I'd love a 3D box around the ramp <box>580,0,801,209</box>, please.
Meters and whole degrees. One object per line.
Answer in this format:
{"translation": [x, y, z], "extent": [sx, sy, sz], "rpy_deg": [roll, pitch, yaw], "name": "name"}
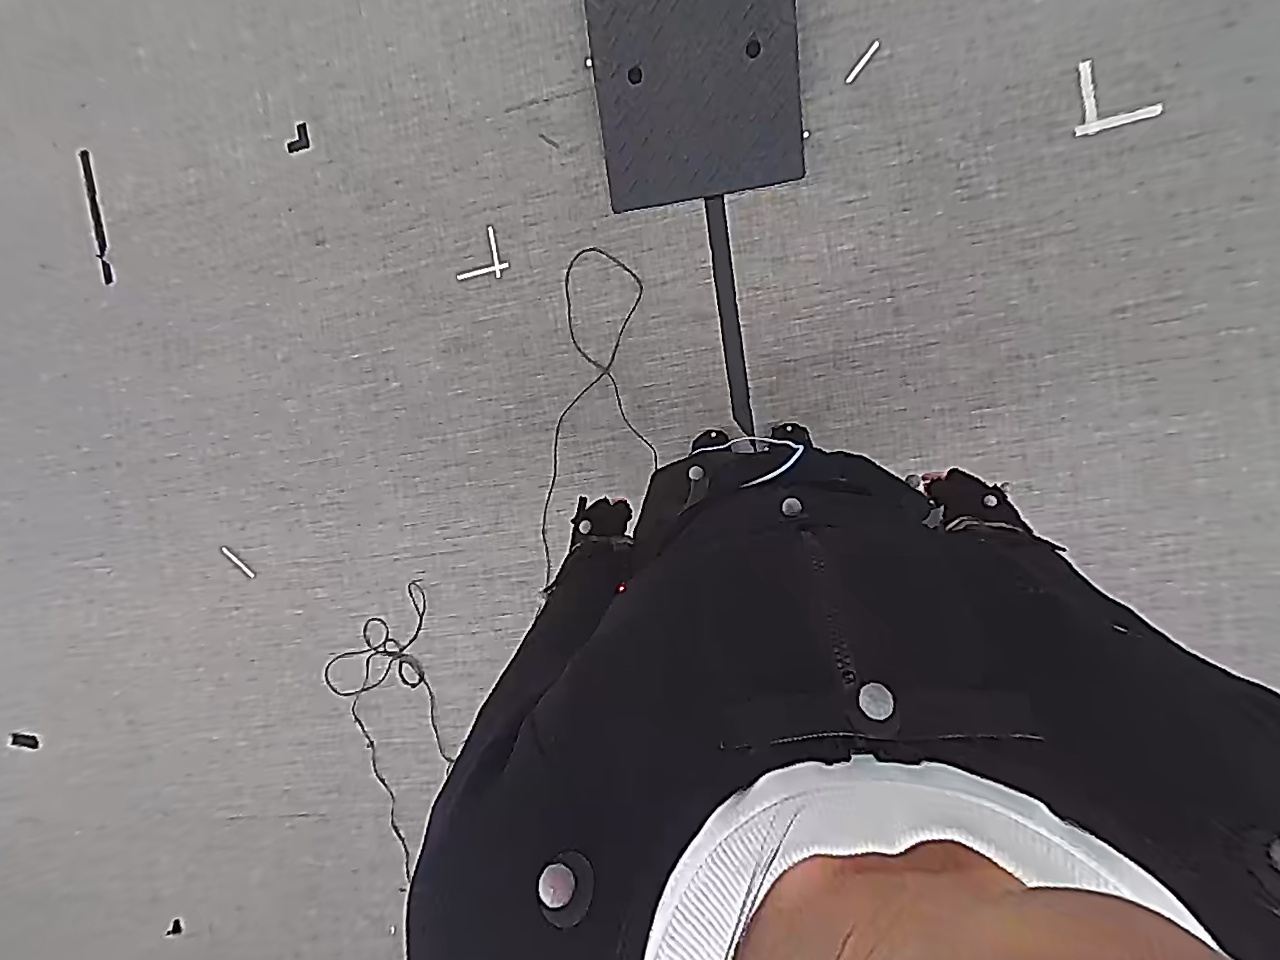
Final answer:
{"translation": [0.092, -1.208, 1.248], "extent": [0.509, 0.206, 0.991], "rpy_deg": [-8, 95, 9], "name": "ramp"}
